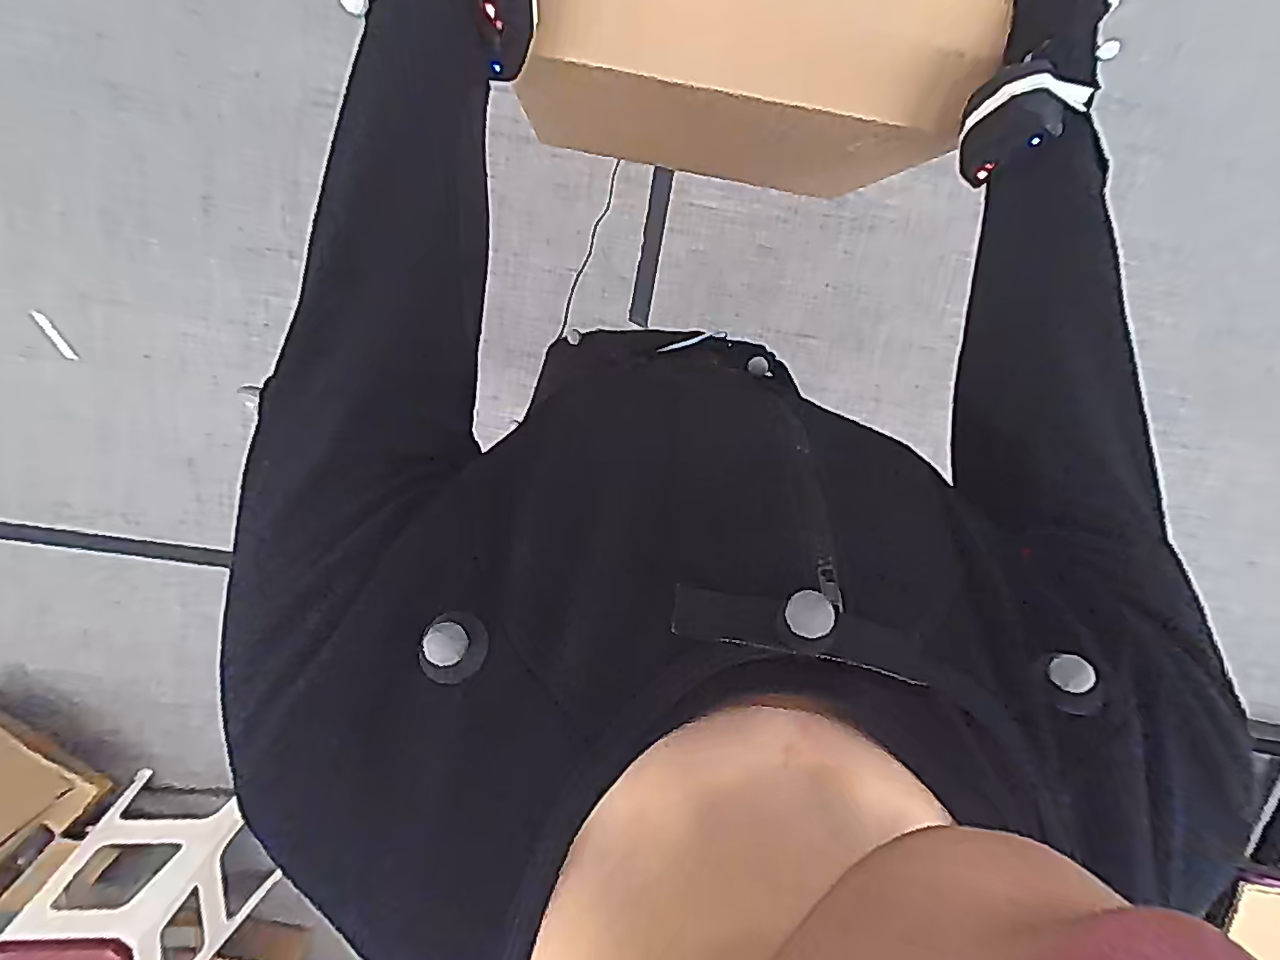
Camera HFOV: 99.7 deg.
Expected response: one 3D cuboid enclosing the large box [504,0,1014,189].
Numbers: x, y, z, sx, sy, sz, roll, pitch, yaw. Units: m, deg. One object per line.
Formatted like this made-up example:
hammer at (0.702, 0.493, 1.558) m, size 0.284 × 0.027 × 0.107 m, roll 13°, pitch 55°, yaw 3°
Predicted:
large box at (0.101, -0.509, 0.529) m, size 0.408 × 0.320 × 0.320 m, roll 8°, pitch 110°, yaw -6°
